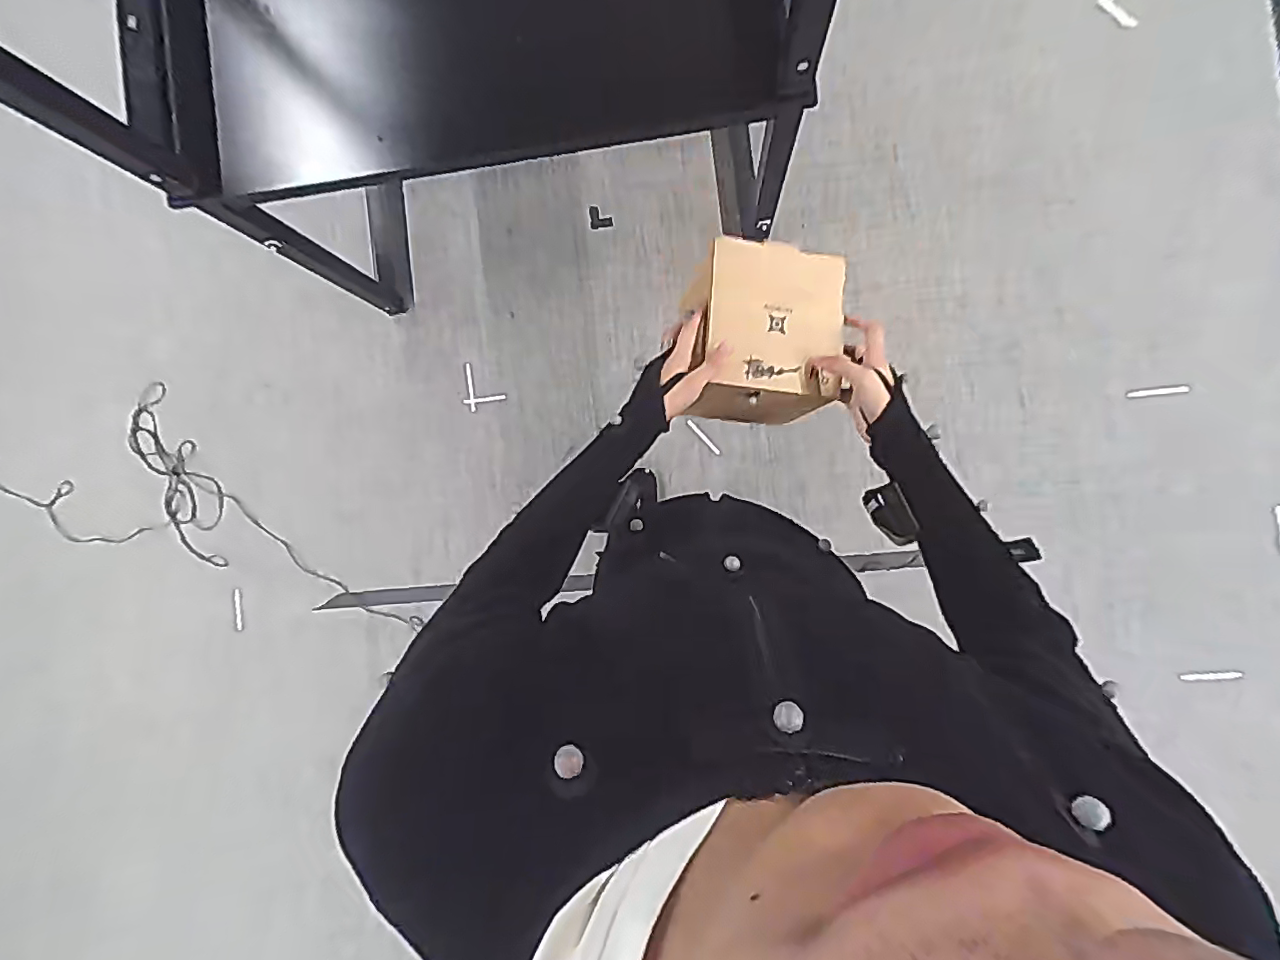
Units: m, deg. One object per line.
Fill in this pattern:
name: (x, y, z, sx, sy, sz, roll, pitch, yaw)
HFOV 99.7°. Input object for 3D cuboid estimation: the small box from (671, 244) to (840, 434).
small box: (0.141, -0.171, 0.706, 0.168, 0.176, 0.179, 6, 82, -9)
